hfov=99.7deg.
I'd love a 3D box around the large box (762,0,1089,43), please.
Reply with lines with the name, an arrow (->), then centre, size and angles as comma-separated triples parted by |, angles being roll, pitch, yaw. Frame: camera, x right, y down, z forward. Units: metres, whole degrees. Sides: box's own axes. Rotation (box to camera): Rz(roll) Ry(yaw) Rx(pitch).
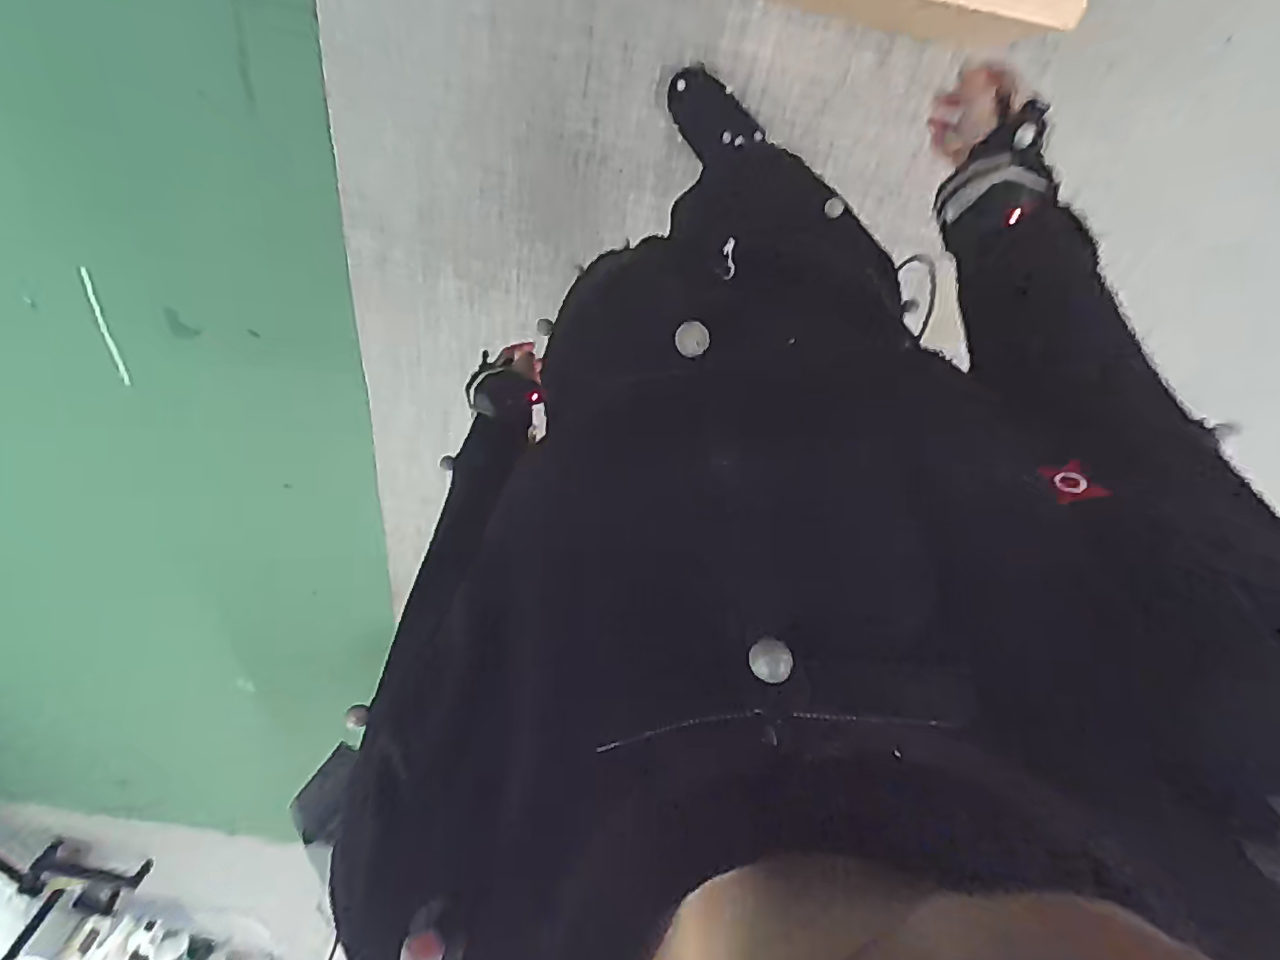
large box -> 0.410, -0.835, 0.735 | 0.408, 0.320, 0.320 | 9, 127, -4
